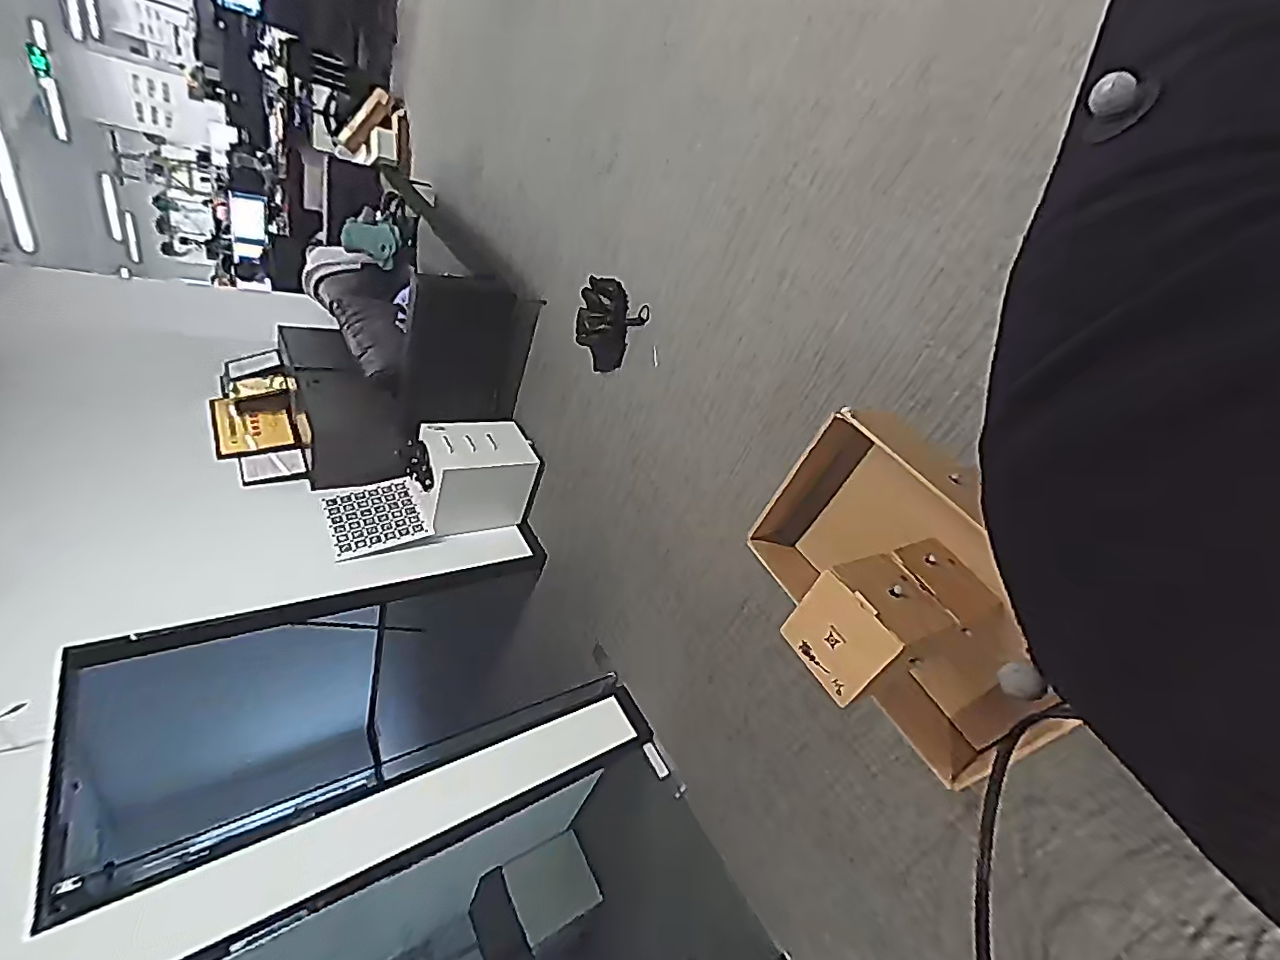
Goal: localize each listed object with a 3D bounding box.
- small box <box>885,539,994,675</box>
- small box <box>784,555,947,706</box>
[{"bbox_3d":[0.529,0.233,1.027,0.168,0.176,0.179,55,137,35],"label":"small box"},{"bbox_3d":[0.393,0.250,0.937,0.168,0.176,0.179,53,133,37],"label":"small box"}]
